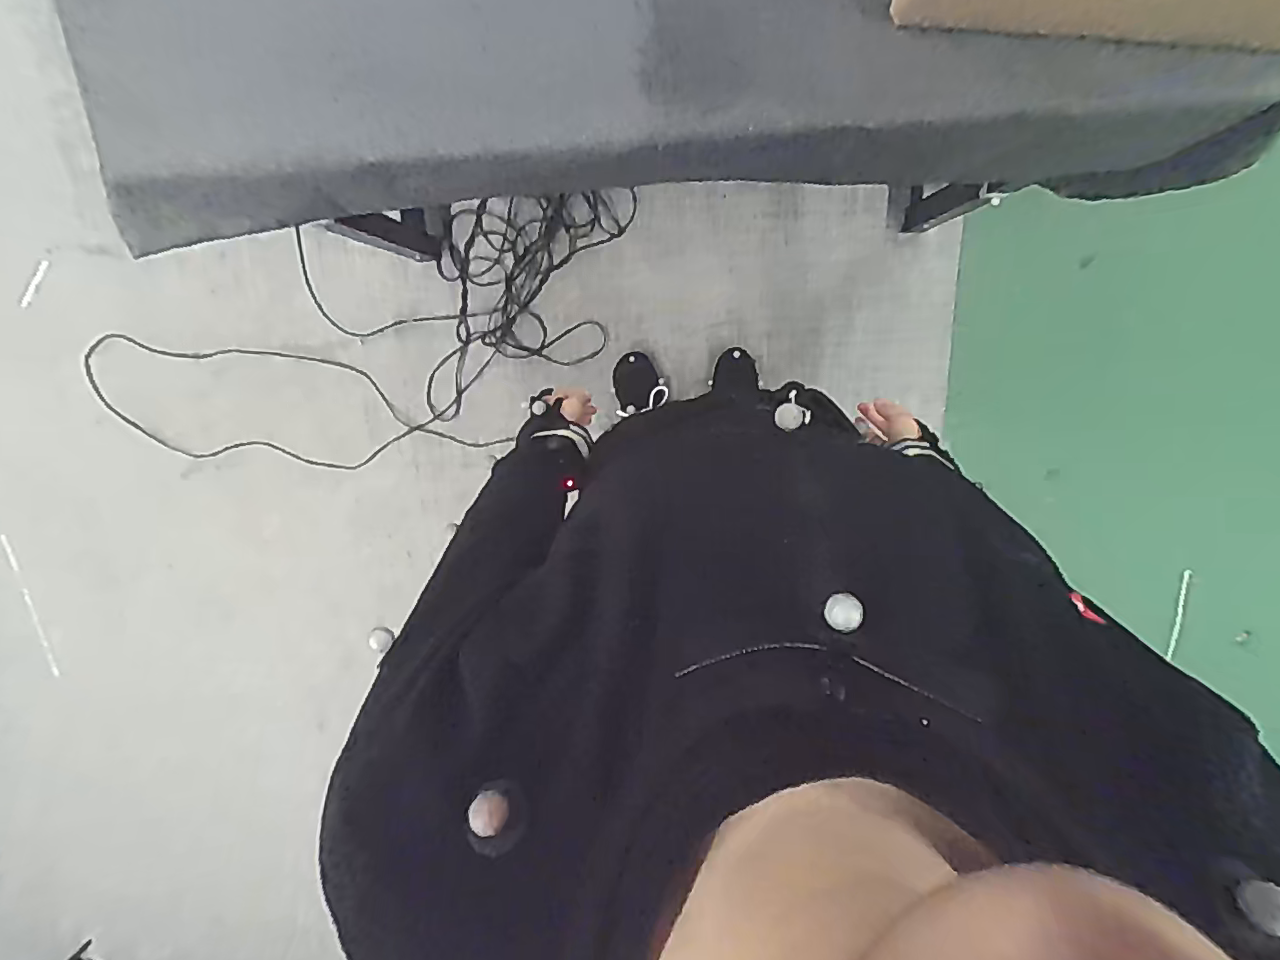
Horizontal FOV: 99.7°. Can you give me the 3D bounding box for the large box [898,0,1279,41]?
[{"bbox_3d":[0.441,-0.536,0.334,0.408,0.320,0.320,4,104,0],"label":"large box"}]
